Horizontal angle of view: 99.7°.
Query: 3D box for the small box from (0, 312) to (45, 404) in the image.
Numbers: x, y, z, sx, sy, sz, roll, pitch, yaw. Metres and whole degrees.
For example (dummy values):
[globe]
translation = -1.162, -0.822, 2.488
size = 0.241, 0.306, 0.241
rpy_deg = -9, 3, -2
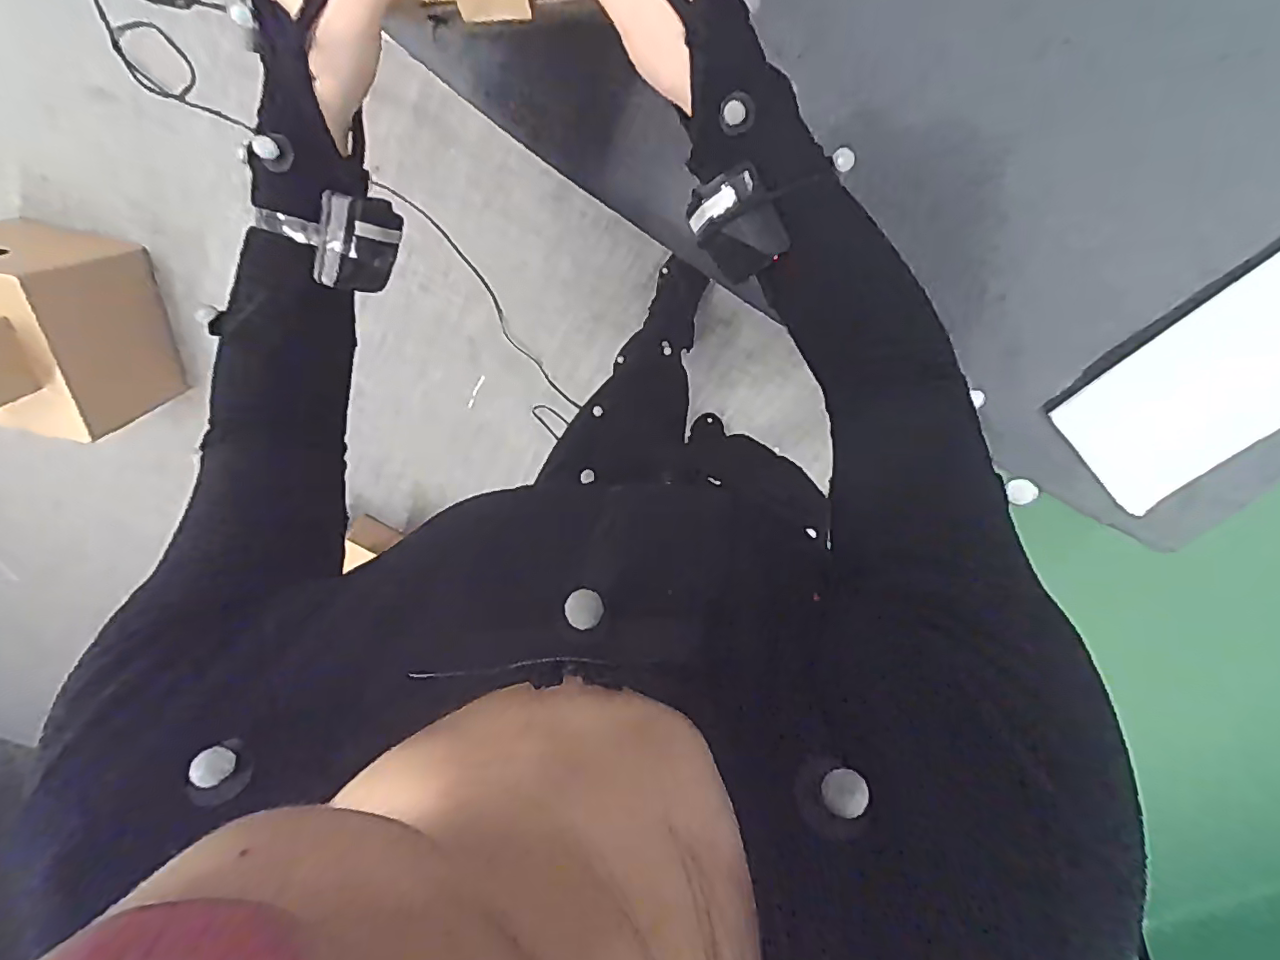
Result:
[small box]
translation = -1.415, -0.251, 1.116
size = 0.168, 0.176, 0.179
rpy_deg = 12, 124, -3
